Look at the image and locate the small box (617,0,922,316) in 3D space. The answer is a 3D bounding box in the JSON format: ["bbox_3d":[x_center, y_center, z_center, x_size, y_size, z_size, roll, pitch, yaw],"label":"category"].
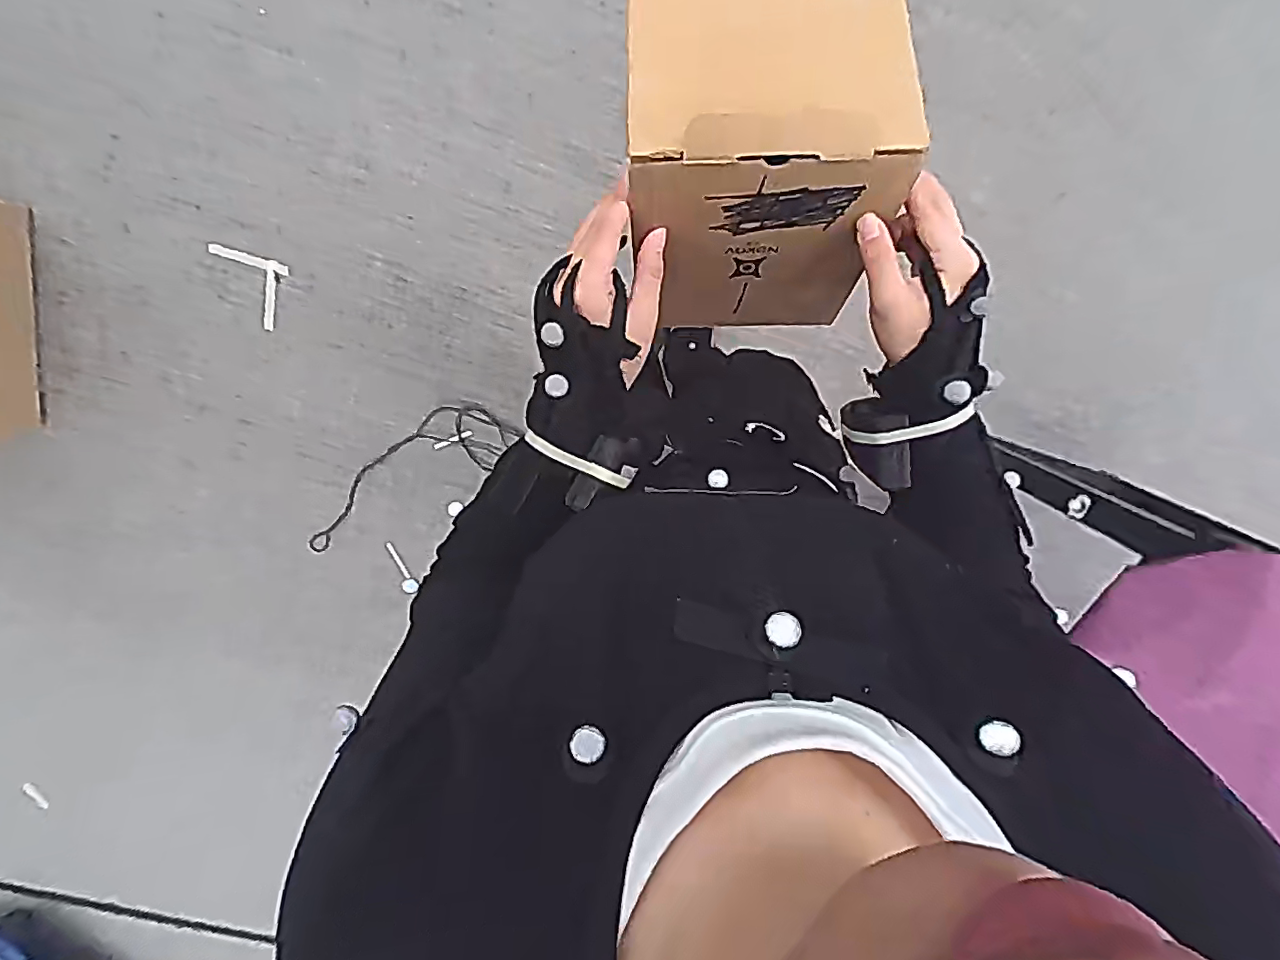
[{"bbox_3d":[0.070,-0.241,0.390,0.168,0.179,0.176,-1,75,1],"label":"small box"}]

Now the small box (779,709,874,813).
[{"bbox_3d":[0.503,0.768,1.490,0.168,0.176,0.179,17,109,-6],"label":"small box"}]
